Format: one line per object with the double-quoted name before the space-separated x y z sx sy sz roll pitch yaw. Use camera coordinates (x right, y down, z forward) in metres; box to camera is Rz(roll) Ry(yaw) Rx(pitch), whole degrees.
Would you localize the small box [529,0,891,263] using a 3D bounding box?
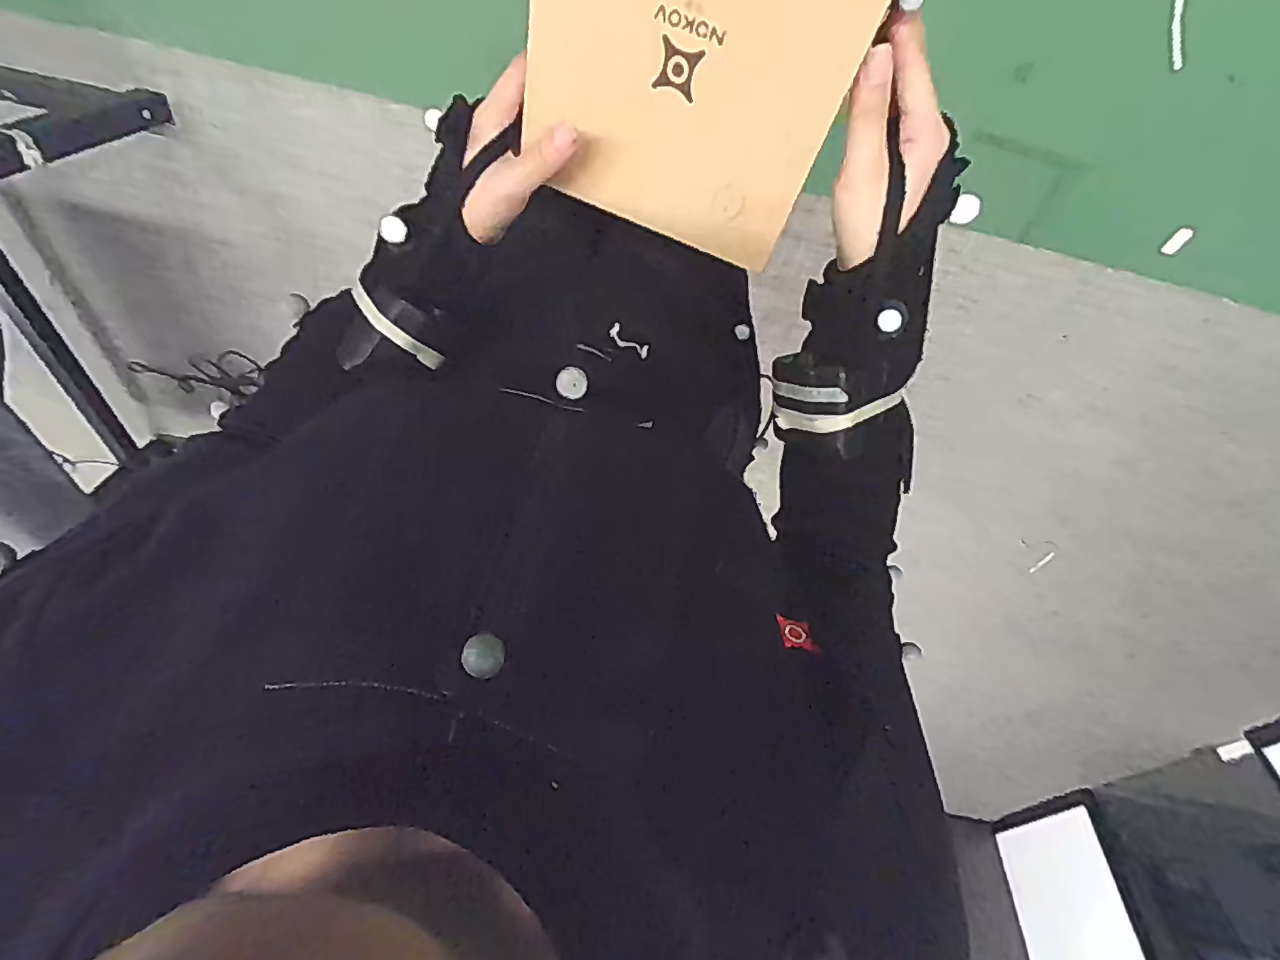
"small box" 0.049 -0.272 0.319 0.168 0.176 0.179 23 142 1
